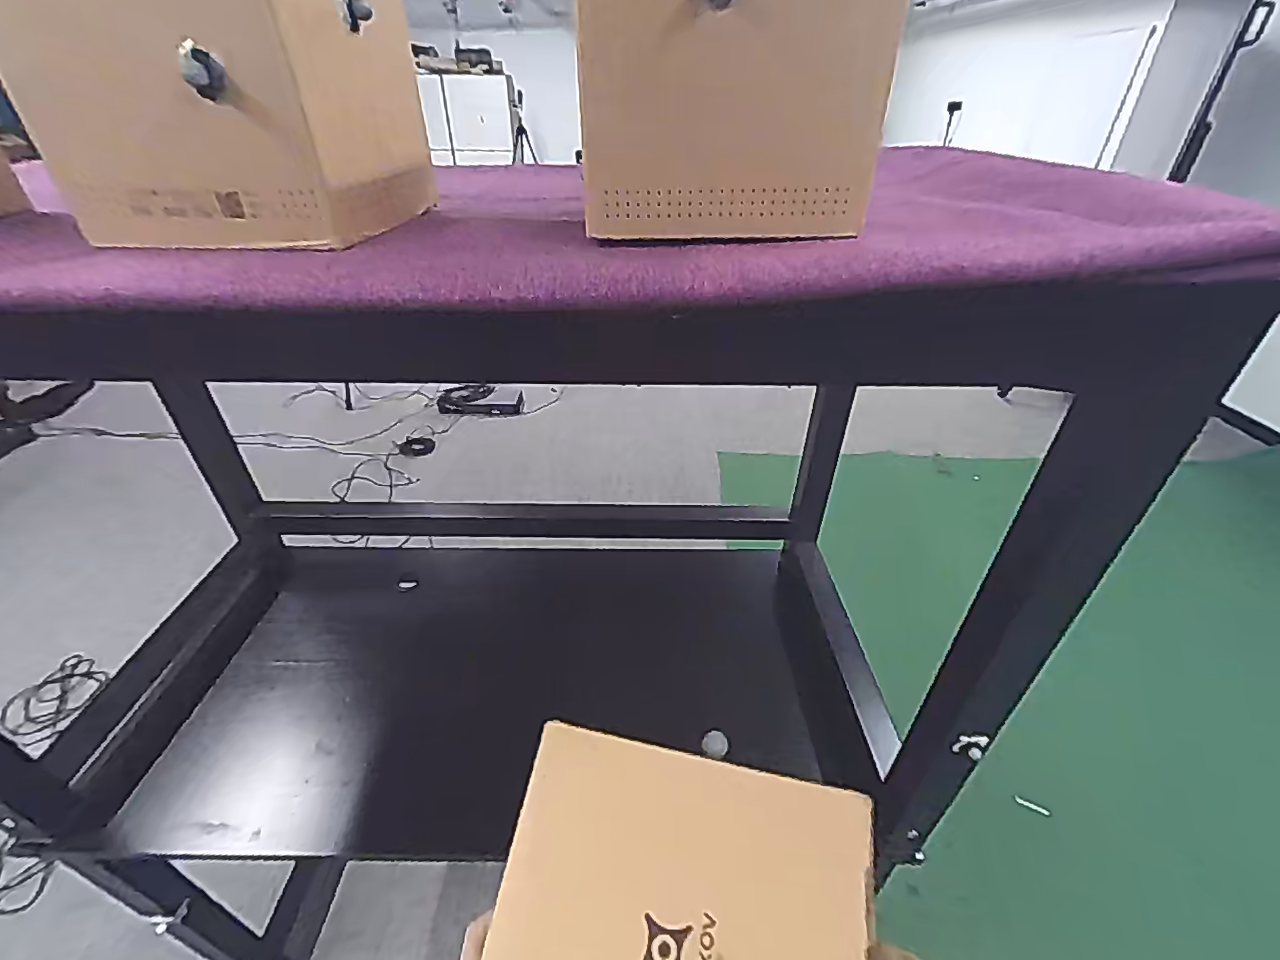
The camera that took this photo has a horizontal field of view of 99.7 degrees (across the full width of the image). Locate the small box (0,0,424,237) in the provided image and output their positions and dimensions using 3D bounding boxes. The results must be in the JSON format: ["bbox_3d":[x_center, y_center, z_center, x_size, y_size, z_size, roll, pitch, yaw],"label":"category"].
[{"bbox_3d":[-0.261,-0.264,0.354,0.168,0.176,0.179,2,34,1],"label":"small box"}]

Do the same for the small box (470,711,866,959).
[{"bbox_3d":[0.016,0.251,0.314,0.179,0.176,0.168,10,59,7],"label":"small box"}]

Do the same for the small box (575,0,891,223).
[{"bbox_3d":[0.051,-0.271,0.359,0.179,0.176,0.168,0,33,0],"label":"small box"}]
